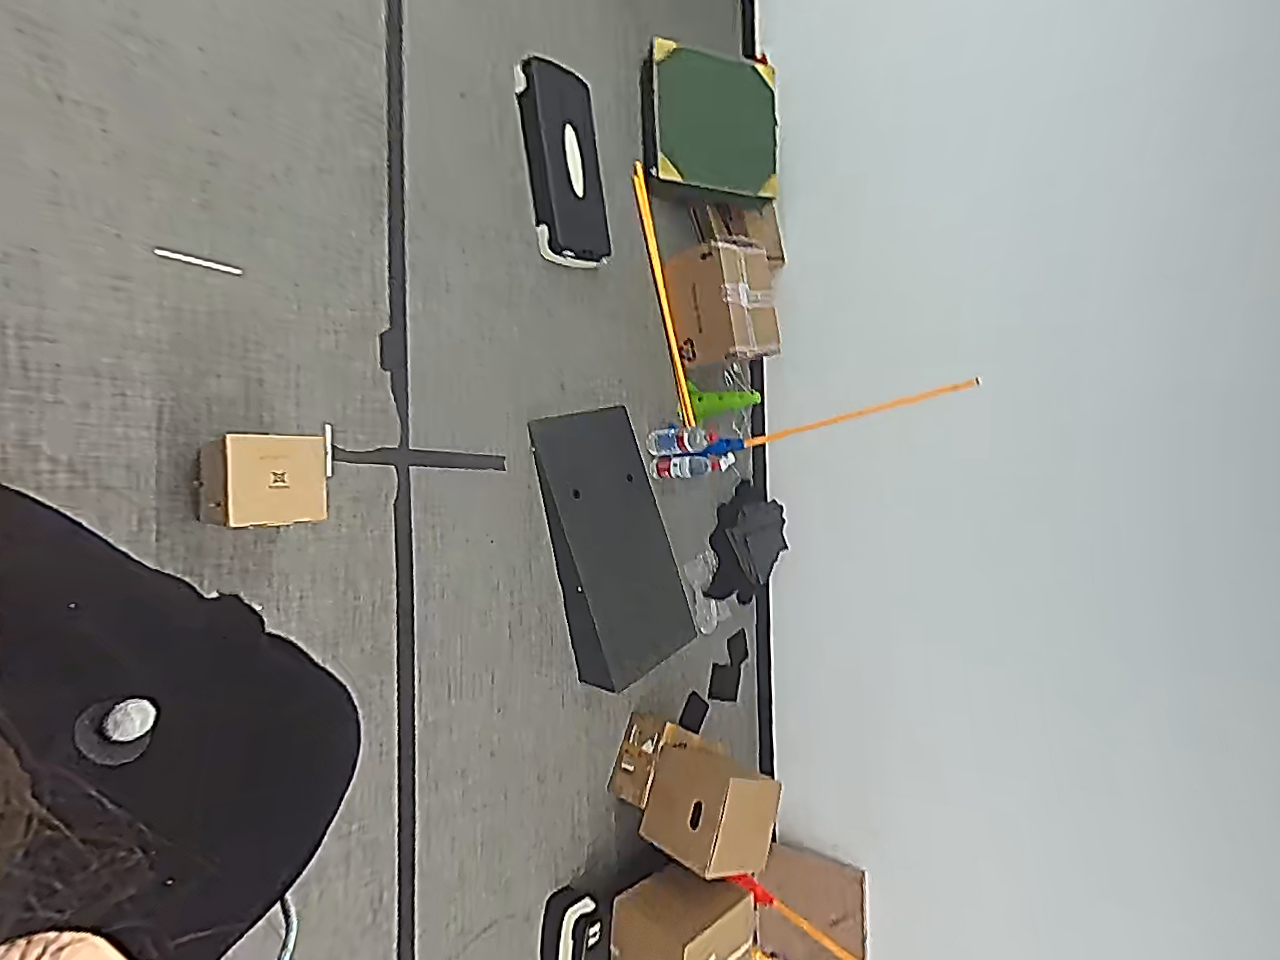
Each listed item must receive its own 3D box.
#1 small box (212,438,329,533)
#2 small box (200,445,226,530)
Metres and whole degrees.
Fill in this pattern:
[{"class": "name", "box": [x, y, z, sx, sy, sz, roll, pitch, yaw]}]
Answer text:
[{"class": "small box", "box": [-0.749, 0.011, 1.097, 0.168, 0.176, 0.179, -1, 89, -47]}, {"class": "small box", "box": [-0.867, 0.017, 1.210, 0.168, 0.176, 0.179, 2, 88, -47]}]
